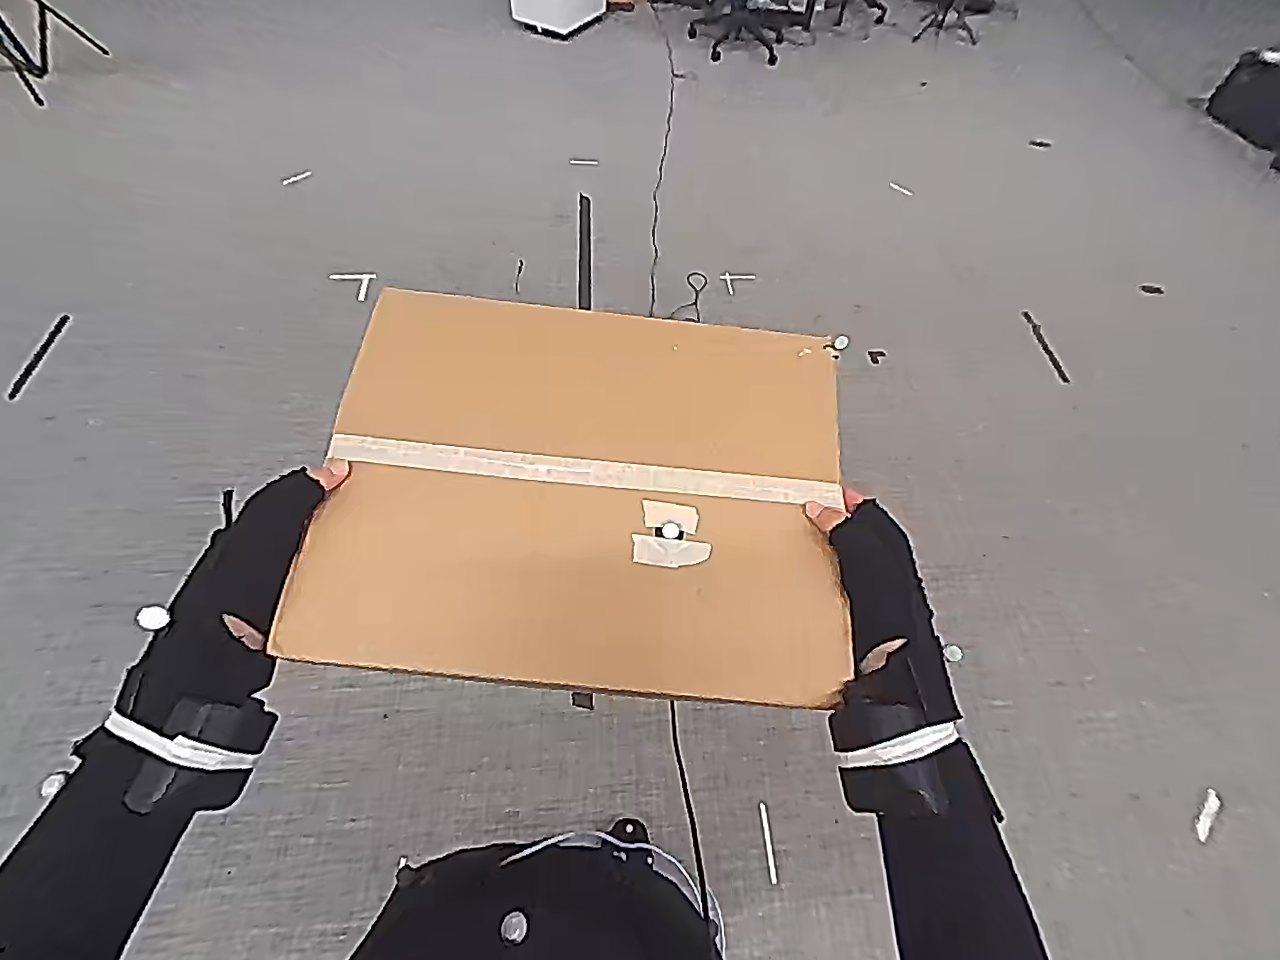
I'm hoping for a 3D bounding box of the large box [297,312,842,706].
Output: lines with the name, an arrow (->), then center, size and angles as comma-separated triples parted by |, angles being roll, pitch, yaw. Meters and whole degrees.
large box -> -0.048, 0.059, 0.581 | 0.408, 0.320, 0.320 | 6, 69, -2
